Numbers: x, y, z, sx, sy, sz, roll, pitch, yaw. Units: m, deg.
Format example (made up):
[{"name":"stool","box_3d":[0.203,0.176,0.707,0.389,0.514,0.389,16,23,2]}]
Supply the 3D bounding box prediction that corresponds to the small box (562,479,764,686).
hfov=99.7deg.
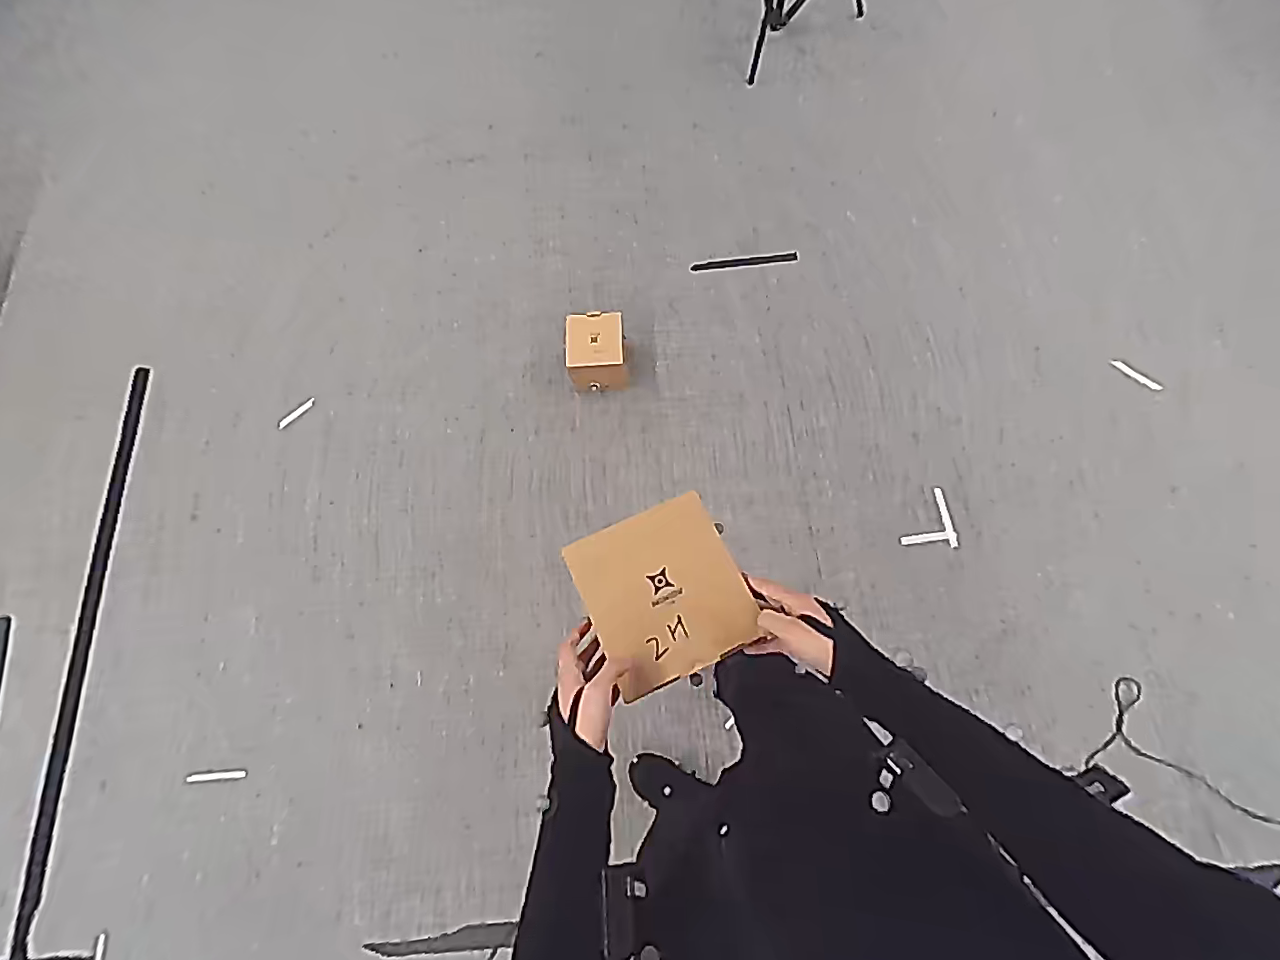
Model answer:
[{"name":"small box","box_3d":[0.021,0.130,0.645,0.168,0.176,0.179,-23,70,-8]}]

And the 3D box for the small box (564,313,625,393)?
[{"name":"small box","box_3d":[-0.135,-0.384,1.646,0.168,0.176,0.179,-3,72,2]}]
